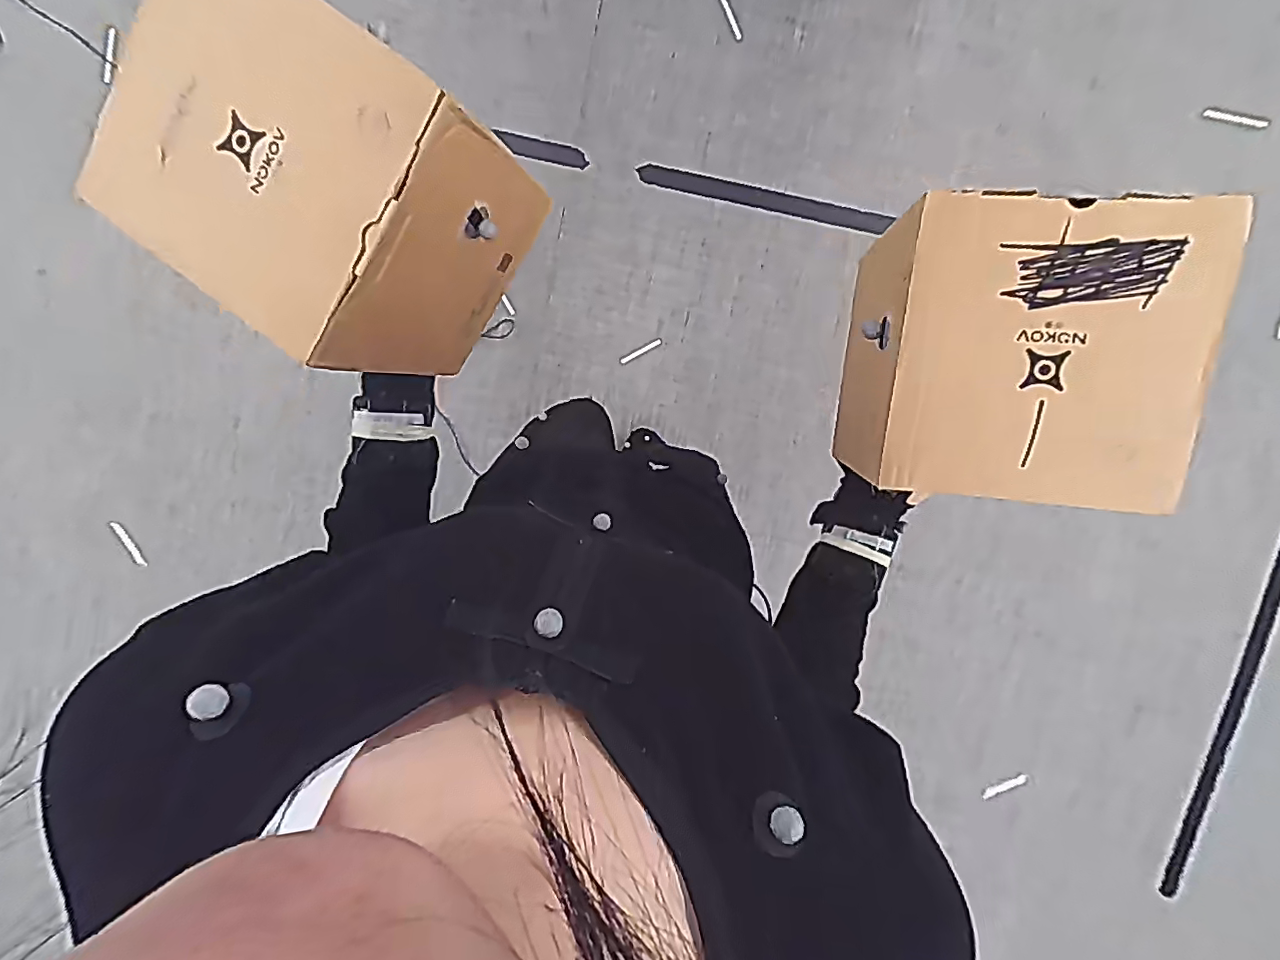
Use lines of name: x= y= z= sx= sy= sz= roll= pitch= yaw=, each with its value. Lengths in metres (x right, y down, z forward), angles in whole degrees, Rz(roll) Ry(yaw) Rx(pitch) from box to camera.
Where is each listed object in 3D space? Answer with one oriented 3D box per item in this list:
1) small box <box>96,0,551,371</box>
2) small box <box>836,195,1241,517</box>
small box: x=-0.189 y=-0.190 z=0.370 sx=0.179 sy=0.176 sz=0.168 roll=36 pitch=103 yaw=3
small box: x=0.251 y=-0.084 z=0.396 sx=0.168 sy=0.176 sz=0.179 roll=7 pitch=101 yaw=9
